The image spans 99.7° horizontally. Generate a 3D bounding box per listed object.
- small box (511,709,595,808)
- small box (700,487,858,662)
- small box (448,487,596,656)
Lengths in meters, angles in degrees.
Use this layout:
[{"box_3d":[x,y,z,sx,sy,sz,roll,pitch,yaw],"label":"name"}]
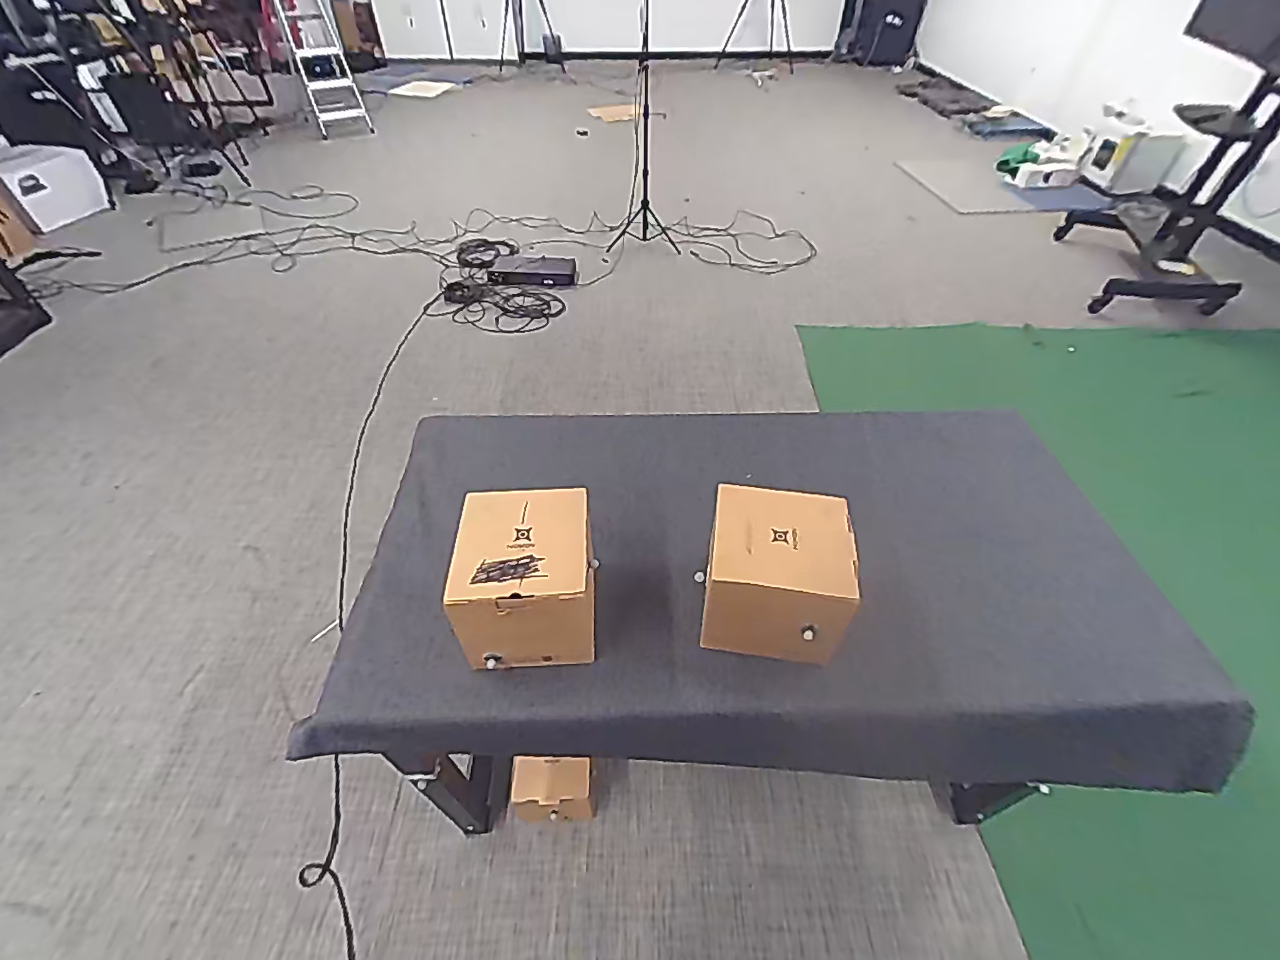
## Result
[{"box_3d":[-0.194,0.651,1.259,0.168,0.176,0.179,0,47,-1],"label":"small box"},{"box_3d":[0.183,0.134,0.751,0.179,0.176,0.168,6,45,7],"label":"small box"},{"box_3d":[-0.147,0.131,0.745,0.168,0.176,0.179,-1,45,-3],"label":"small box"}]
